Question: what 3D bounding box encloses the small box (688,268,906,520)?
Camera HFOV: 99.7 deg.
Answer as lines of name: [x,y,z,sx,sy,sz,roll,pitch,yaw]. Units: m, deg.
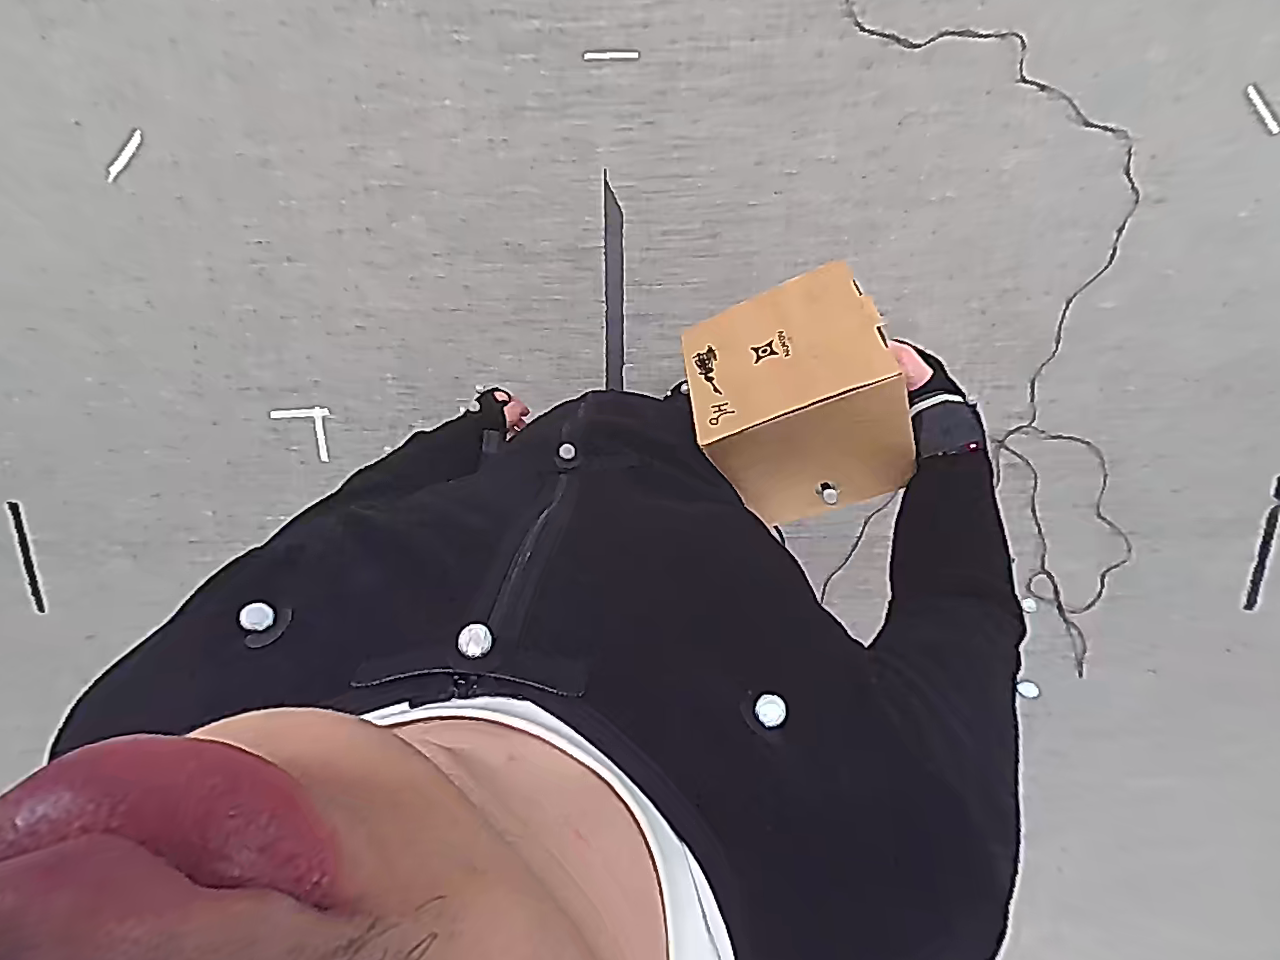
small box: [0.169,-0.081,0.578,0.179,0.168,0.176,-19,139,19]
